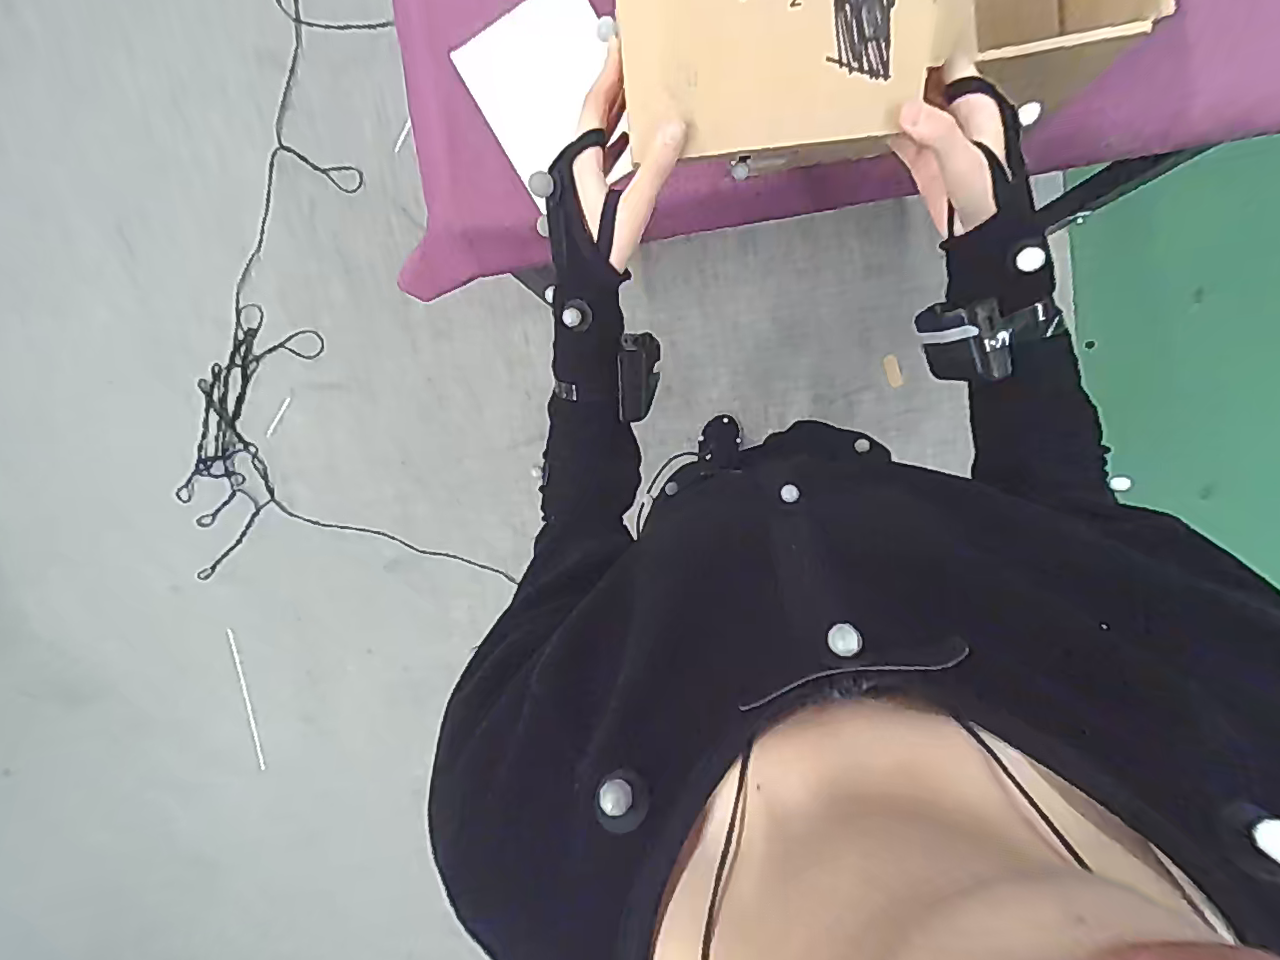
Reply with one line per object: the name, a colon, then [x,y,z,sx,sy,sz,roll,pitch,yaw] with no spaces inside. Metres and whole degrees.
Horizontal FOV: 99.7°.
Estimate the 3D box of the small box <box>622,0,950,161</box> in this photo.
small box: [0.077,-0.312,0.352,0.179,0.176,0.168,-5,119,3]
